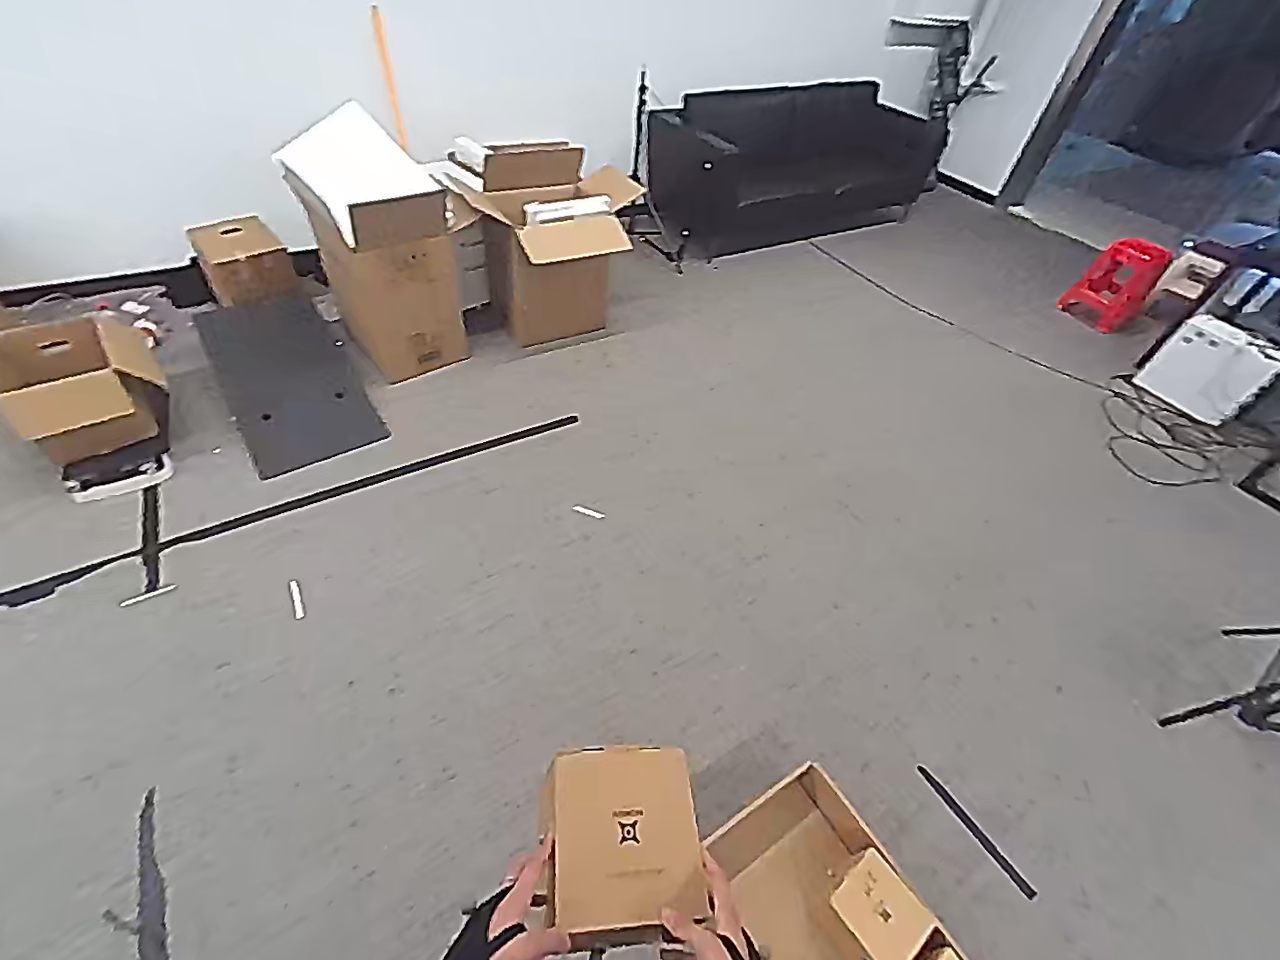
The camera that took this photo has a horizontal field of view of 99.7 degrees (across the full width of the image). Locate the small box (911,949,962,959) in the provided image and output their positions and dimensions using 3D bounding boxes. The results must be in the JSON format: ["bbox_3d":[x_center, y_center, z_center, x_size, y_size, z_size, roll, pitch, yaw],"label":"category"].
[{"bbox_3d":[0.616,1.113,1.110,0.179,0.176,0.168,-23,52,-22],"label":"small box"}]

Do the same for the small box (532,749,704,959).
[{"bbox_3d":[-0.038,0.451,0.658,0.168,0.176,0.179,6,43,-14],"label":"small box"}]
